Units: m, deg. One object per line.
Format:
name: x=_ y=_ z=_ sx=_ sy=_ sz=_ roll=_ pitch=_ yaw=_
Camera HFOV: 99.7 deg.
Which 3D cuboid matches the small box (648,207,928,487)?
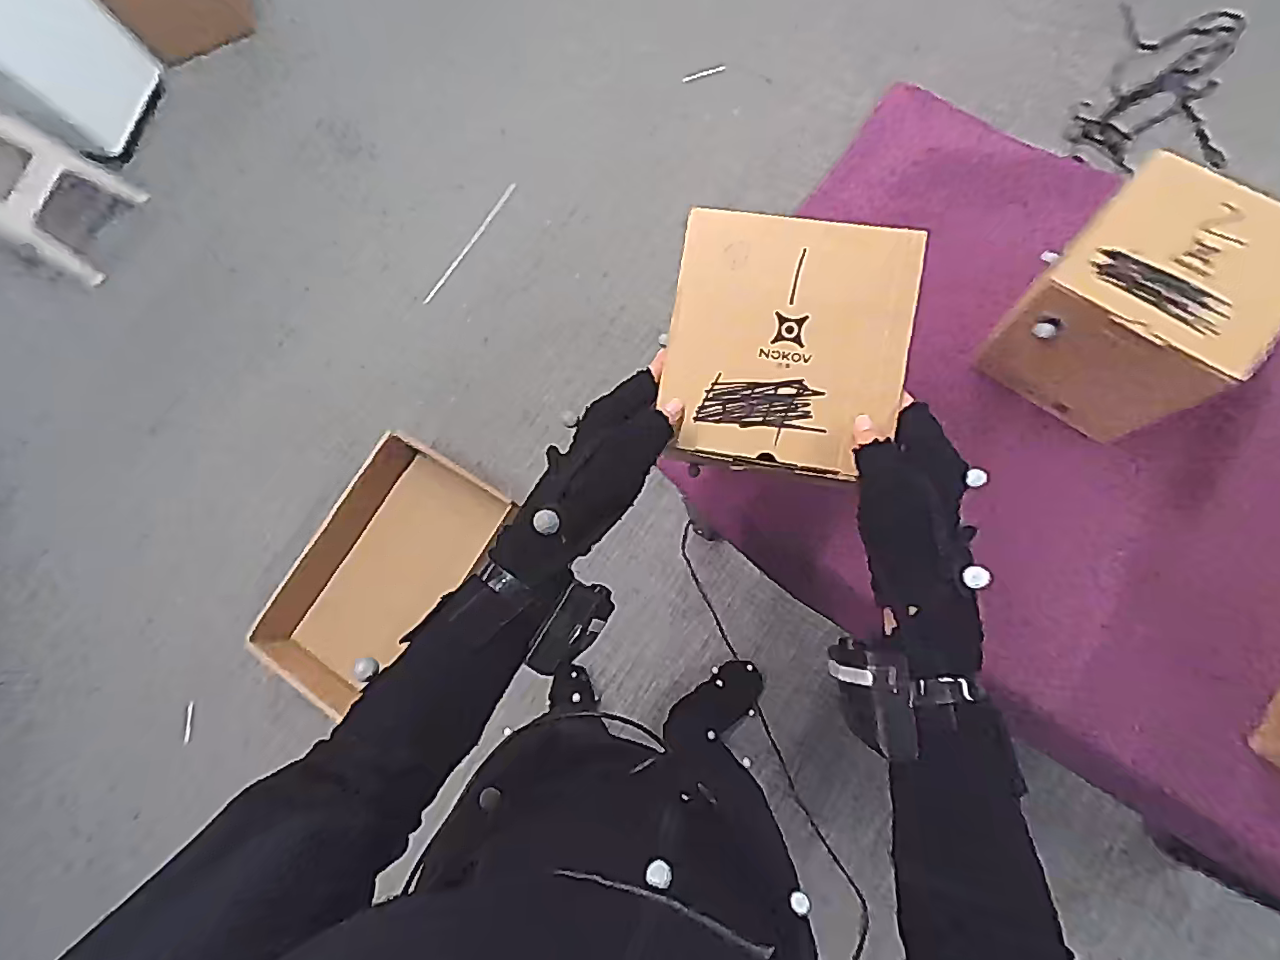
small box: x=0.109 y=-0.092 z=0.452 sx=0.168 sy=0.176 sz=0.179 roll=10 pitch=89 yaw=6
